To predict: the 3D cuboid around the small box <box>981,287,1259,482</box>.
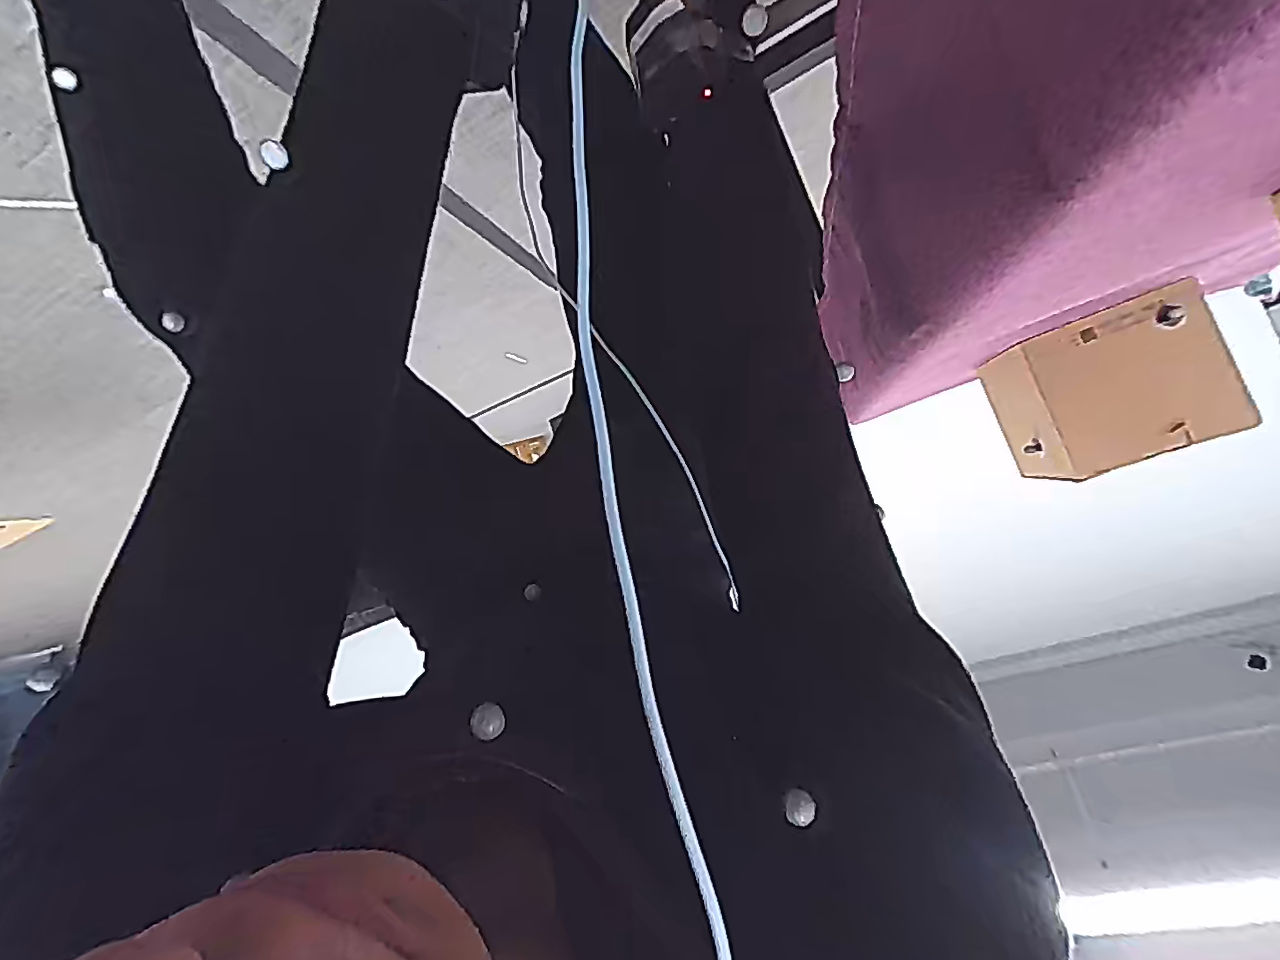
[{"bbox_3d":[0.543,-0.106,0.647,0.168,0.176,0.179,-21,176,17],"label":"small box"}]
